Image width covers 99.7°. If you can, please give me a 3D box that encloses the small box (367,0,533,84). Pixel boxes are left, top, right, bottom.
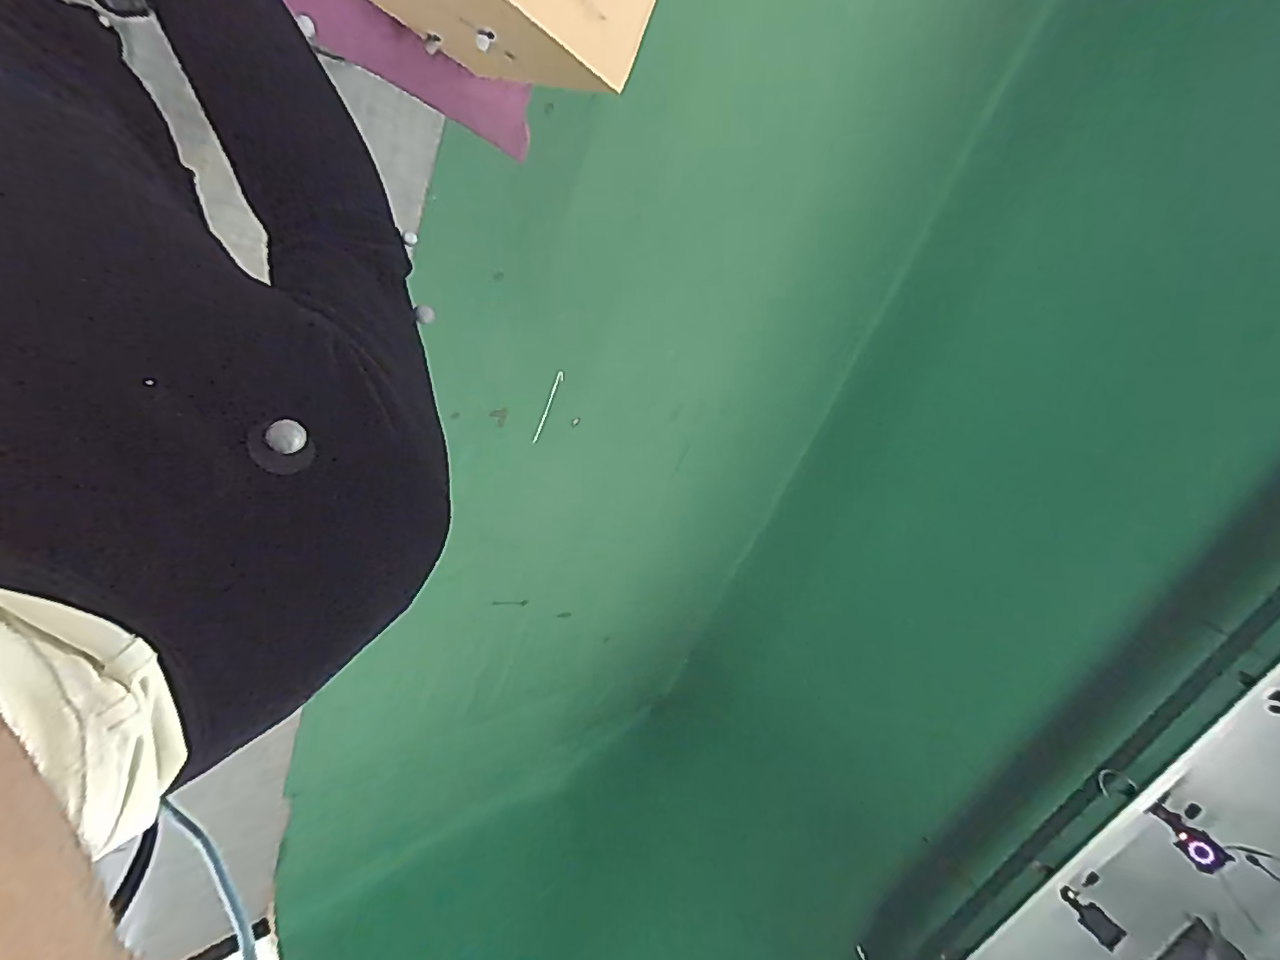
[{"bbox_3d":[-0.209,-0.612,0.636,0.179,0.176,0.168,3,116,-51],"label":"small box"}]

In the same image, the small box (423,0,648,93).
[{"bbox_3d":[-0.099,-0.534,0.543,0.168,0.176,0.179,5,116,-49],"label":"small box"}]
